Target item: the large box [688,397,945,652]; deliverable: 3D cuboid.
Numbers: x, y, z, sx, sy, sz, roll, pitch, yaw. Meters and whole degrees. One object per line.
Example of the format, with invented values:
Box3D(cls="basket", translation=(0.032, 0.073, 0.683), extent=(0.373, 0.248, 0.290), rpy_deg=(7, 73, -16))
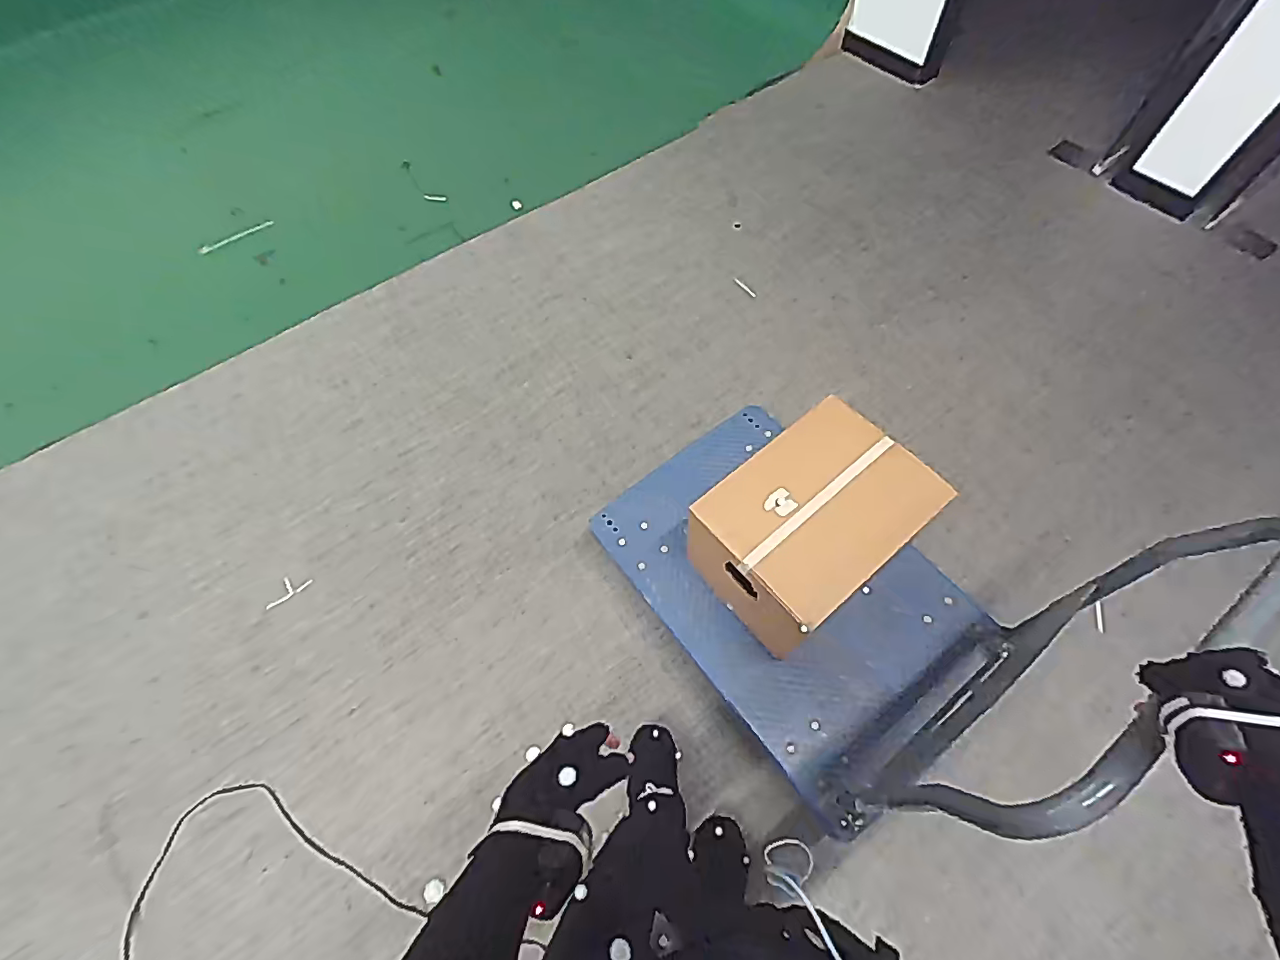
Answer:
Box3D(cls="large box", translation=(0.350, 0.105, 1.173), extent=(0.408, 0.320, 0.320), rpy_deg=(-38, 66, -13))
